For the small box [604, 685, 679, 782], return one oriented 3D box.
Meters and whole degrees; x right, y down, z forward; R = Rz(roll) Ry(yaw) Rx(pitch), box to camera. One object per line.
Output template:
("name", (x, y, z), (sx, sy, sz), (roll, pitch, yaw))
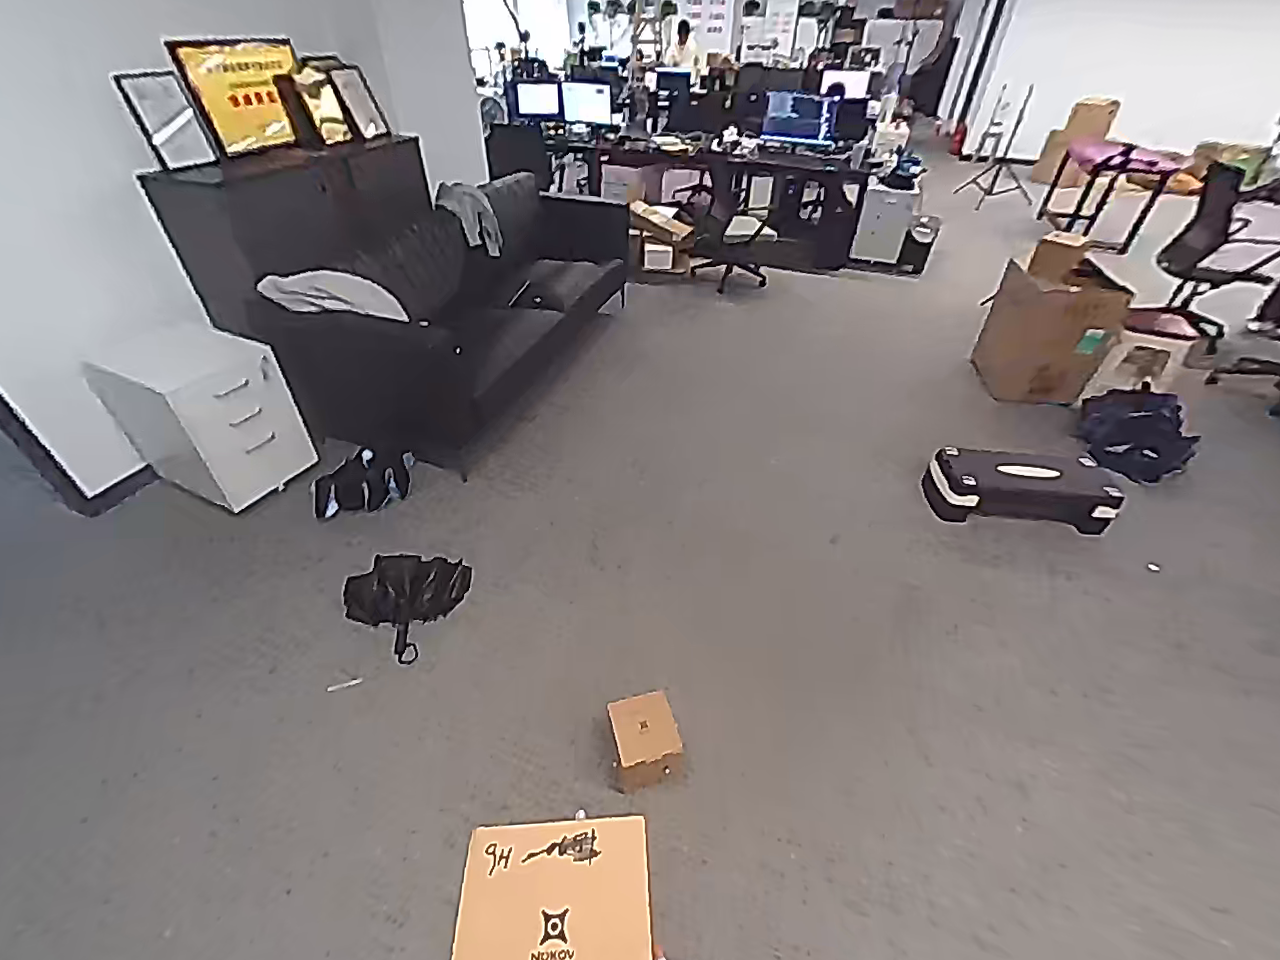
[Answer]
("small box", (0.001, 0.708, 1.497), (0.168, 0.176, 0.179), (-9, 40, -15))
